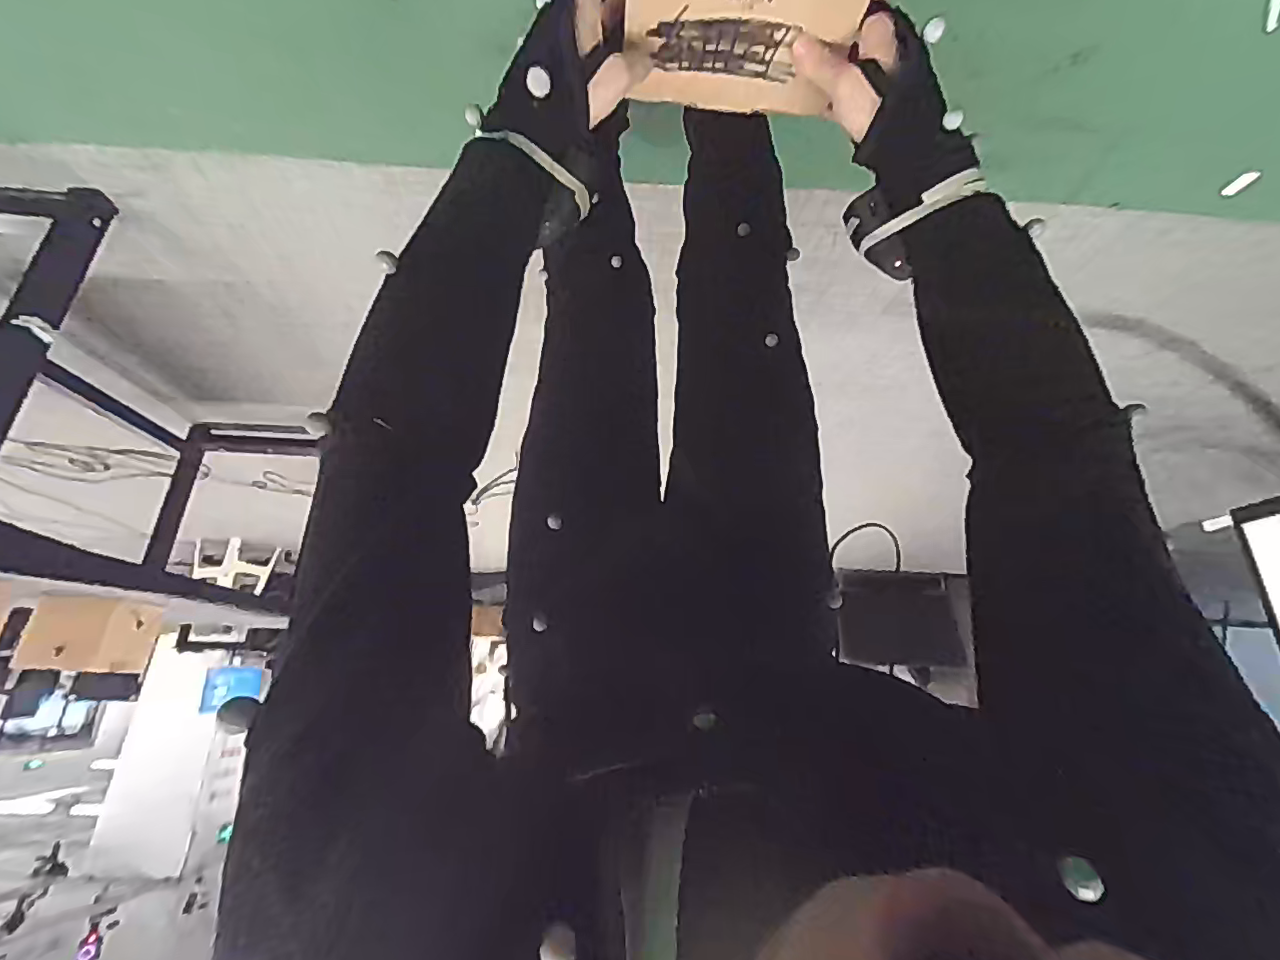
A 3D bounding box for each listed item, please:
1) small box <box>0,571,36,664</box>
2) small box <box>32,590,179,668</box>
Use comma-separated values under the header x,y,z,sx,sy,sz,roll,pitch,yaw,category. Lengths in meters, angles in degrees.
x,y,z,sx,sy,sz,roll,pitch,yaw,category
-1.301,0.244,0.995,0.179,0.176,0.168,3,161,0,small box
-1.318,0.372,1.350,0.179,0.176,0.168,4,159,-2,small box
